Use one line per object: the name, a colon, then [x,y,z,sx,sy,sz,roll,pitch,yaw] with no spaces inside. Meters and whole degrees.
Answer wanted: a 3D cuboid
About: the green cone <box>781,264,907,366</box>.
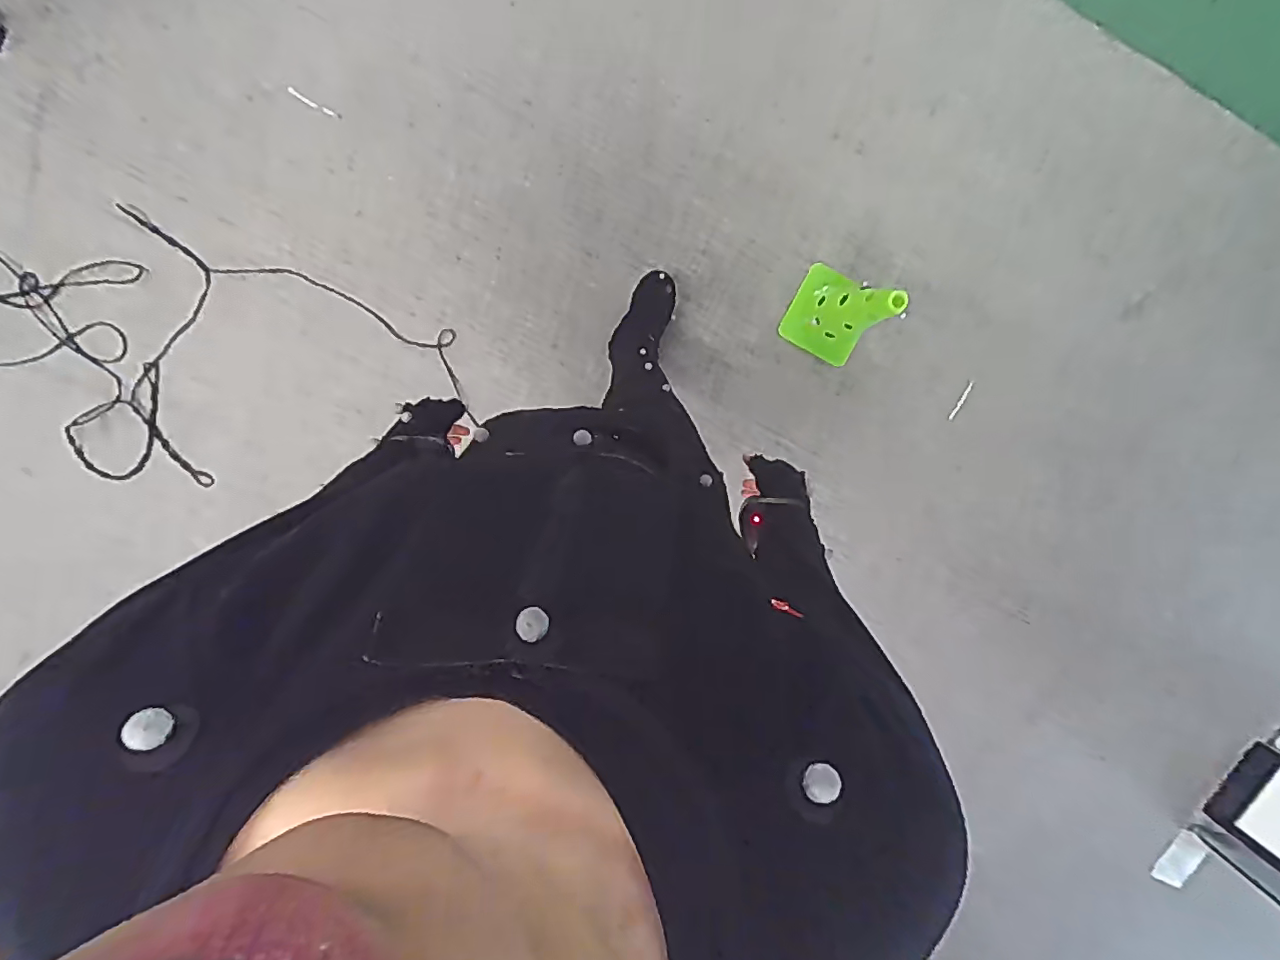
green cone: [0.482,-0.376,1.197,0.200,0.368,0.202,25,101,-7]
